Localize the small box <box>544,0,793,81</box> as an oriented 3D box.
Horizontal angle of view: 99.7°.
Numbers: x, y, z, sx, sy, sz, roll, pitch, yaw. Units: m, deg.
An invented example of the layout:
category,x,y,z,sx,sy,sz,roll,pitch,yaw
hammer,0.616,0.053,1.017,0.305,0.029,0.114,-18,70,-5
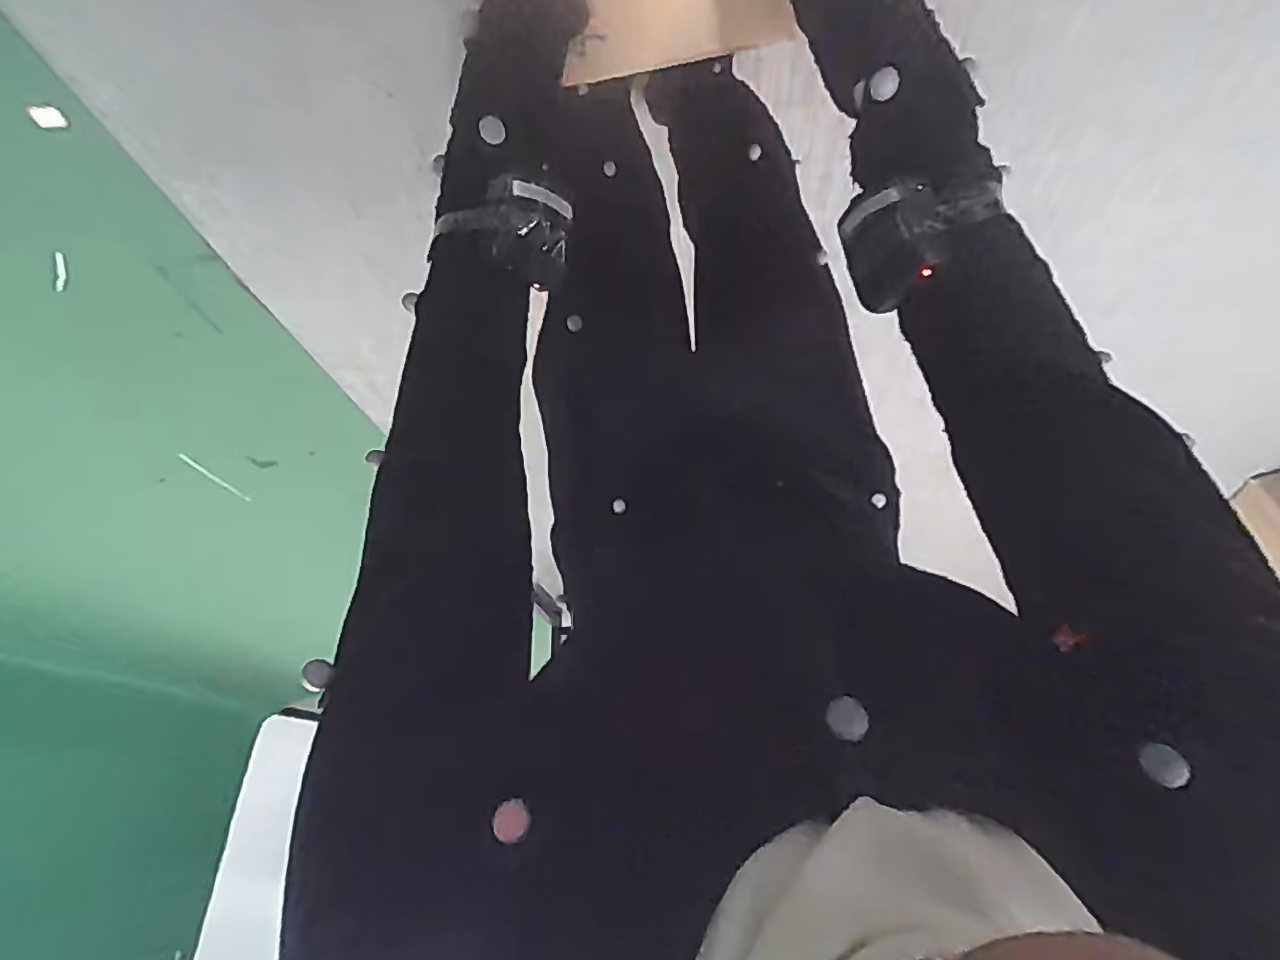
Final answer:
category,x,y,z,sx,sy,sz,roll,pitch,yaw
small box,0.006,-0.422,0.391,0.179,0.176,0.168,-10,139,1
